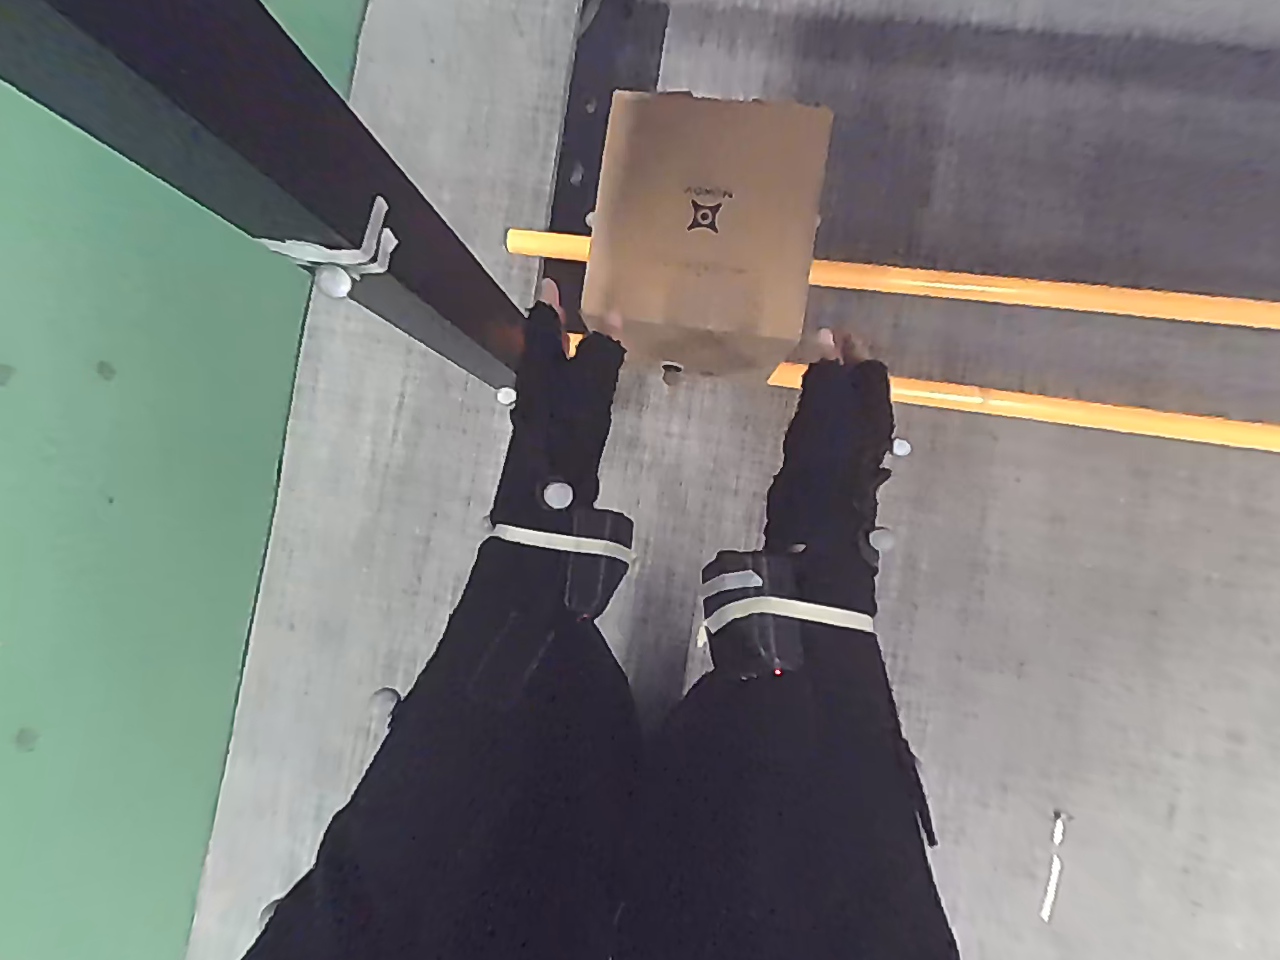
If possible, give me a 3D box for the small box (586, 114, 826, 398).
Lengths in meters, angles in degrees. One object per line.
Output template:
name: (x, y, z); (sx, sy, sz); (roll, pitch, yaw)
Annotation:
small box: (0.054, -0.183, 0.489); (0.168, 0.176, 0.179); (7, 89, 4)
